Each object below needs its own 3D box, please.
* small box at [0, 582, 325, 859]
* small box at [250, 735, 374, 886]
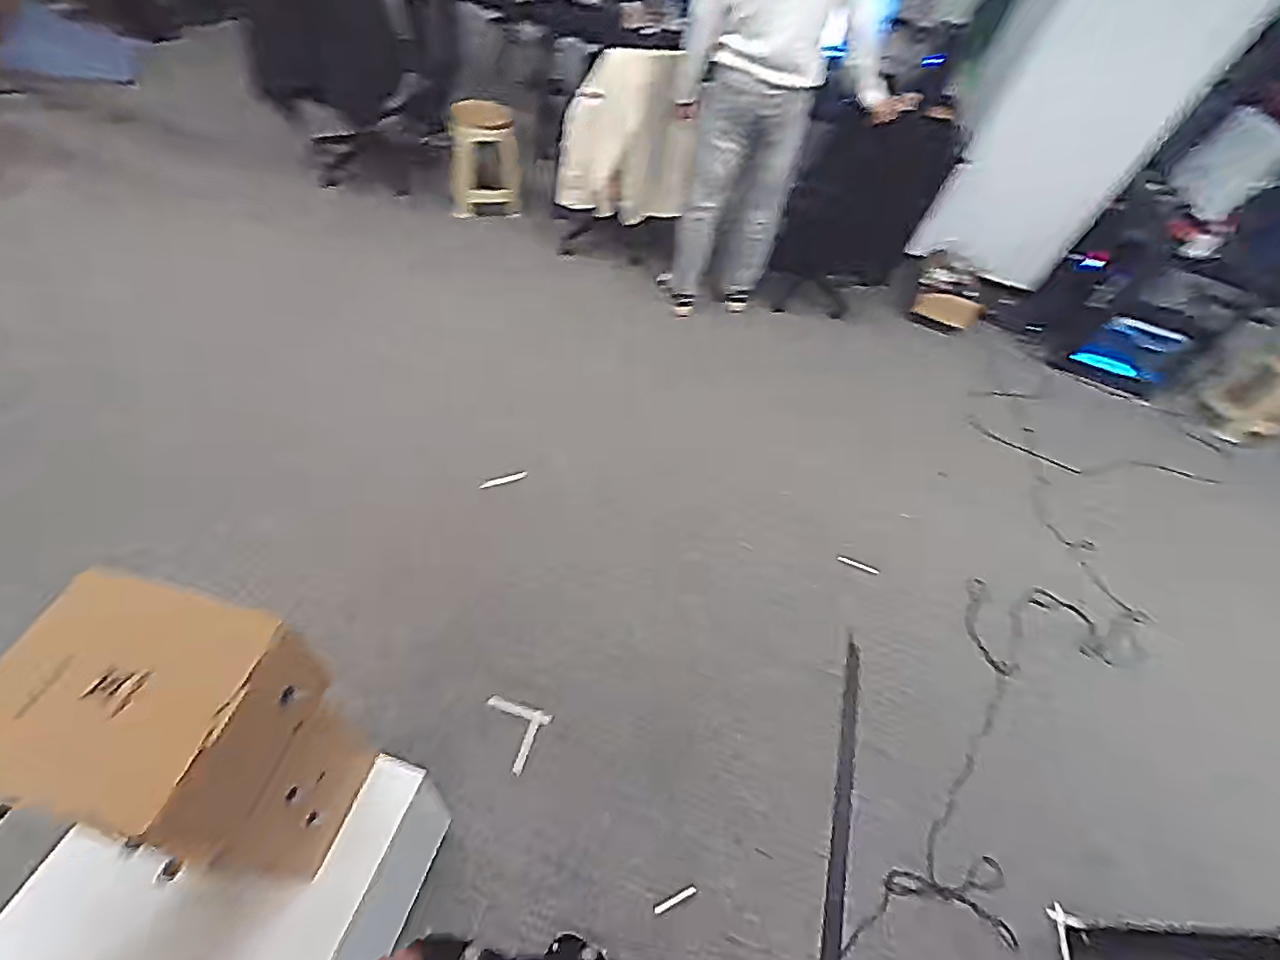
[{"bbox_3d":[-0.416,0.217,0.473,0.179,0.176,0.168,14,51,-2],"label":"small box"},{"bbox_3d":[-0.491,0.420,0.720,0.179,0.176,0.168,17,52,1],"label":"small box"}]
